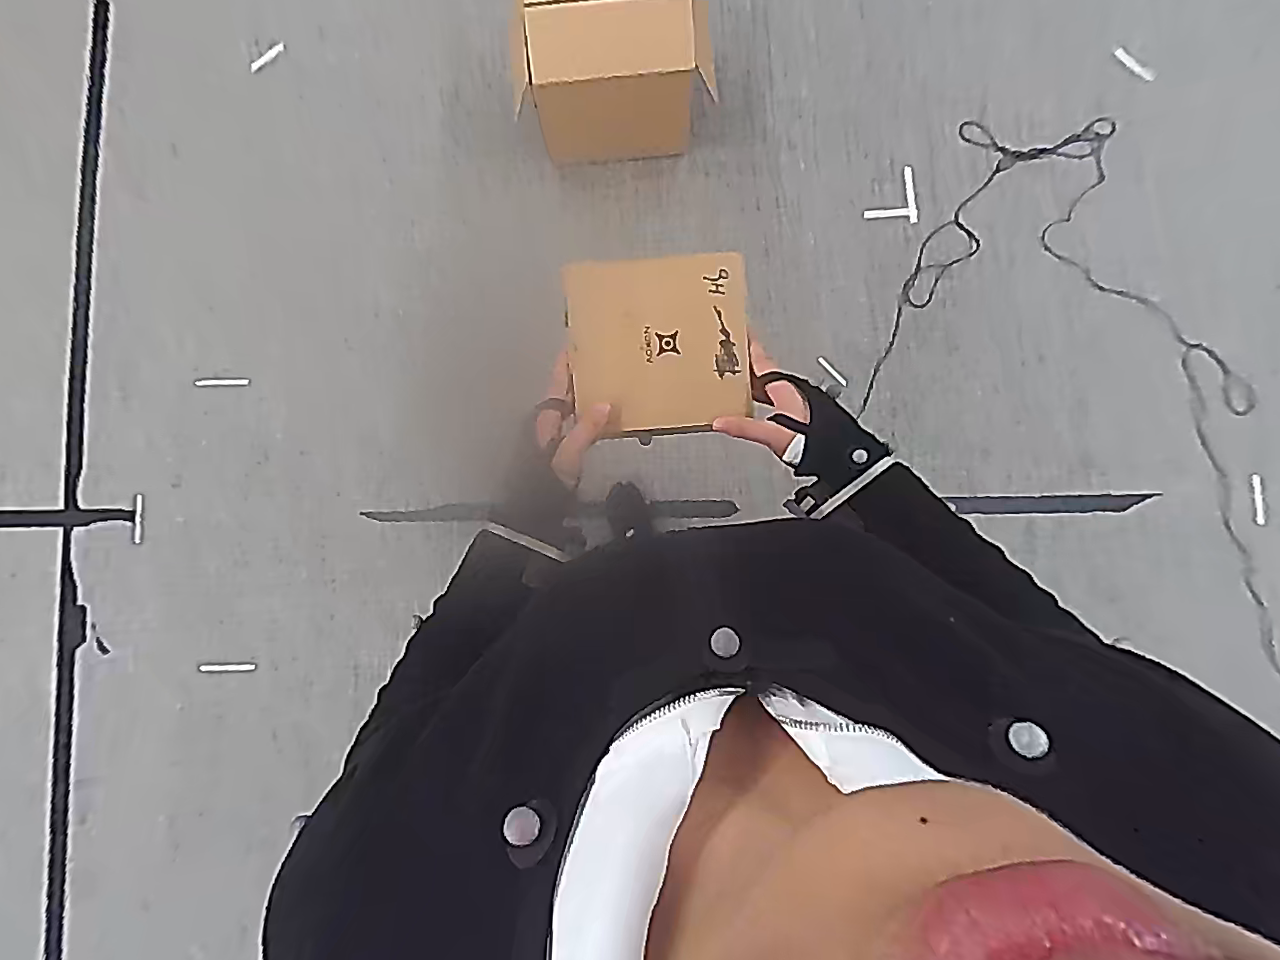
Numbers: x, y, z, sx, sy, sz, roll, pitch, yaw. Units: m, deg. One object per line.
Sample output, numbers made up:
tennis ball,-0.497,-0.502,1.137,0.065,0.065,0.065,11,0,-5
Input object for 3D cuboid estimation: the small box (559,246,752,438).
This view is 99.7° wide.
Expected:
small box,0.013,-0.136,0.590,0.179,0.176,0.168,-4,92,-2
